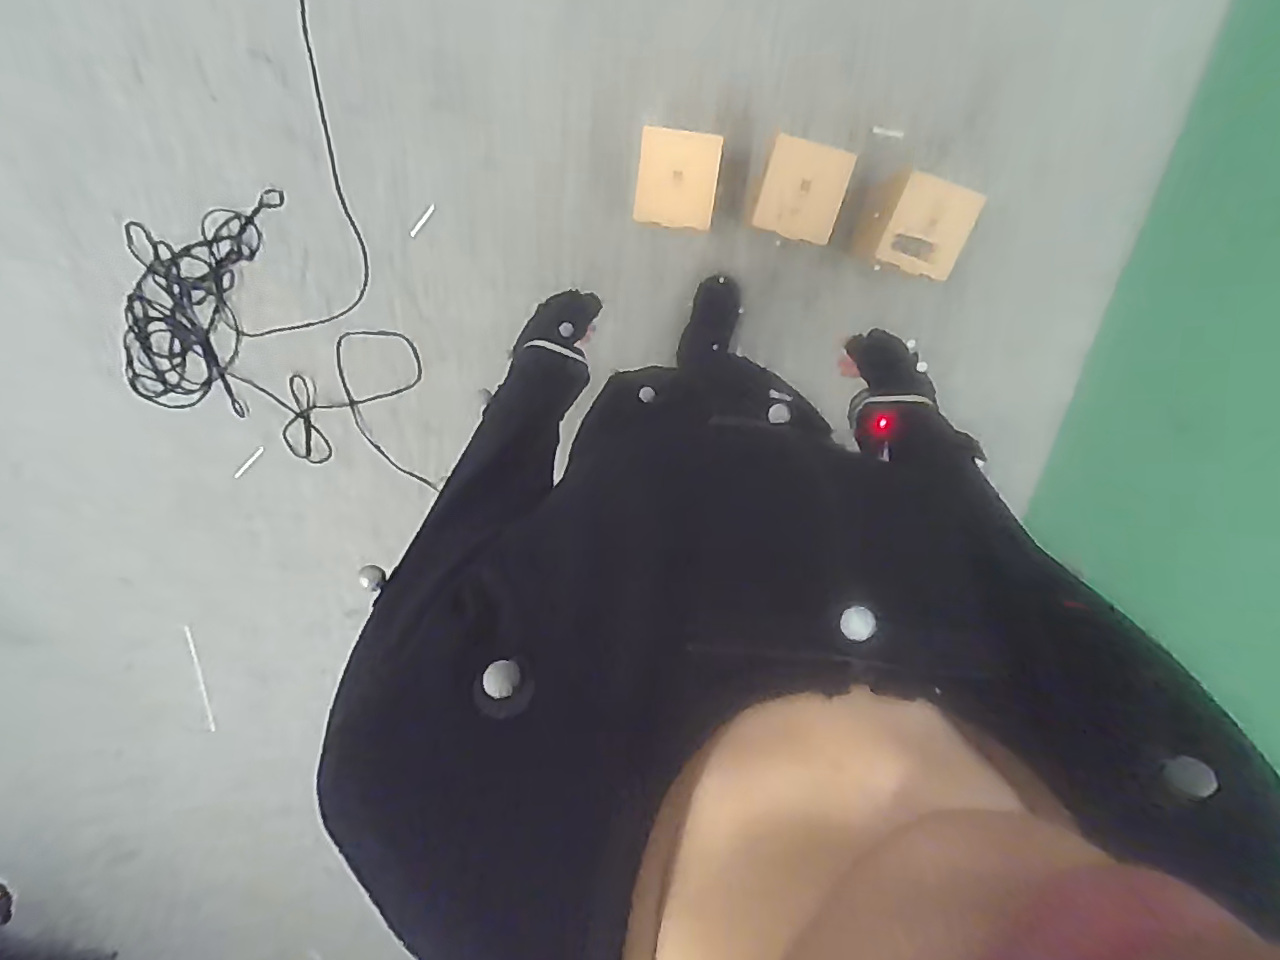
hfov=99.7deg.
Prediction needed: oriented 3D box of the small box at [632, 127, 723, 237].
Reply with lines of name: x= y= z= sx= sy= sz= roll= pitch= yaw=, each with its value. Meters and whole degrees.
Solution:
small box: x=0.079 y=-0.641 z=1.179 sx=0.168 sy=0.176 sz=0.179 roll=8 pitch=111 yaw=1

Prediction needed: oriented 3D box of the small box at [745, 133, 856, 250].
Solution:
small box: x=0.334 y=-0.612 z=1.170 sx=0.168 sy=0.176 sz=0.179 roll=16 pitch=112 yaw=-1
